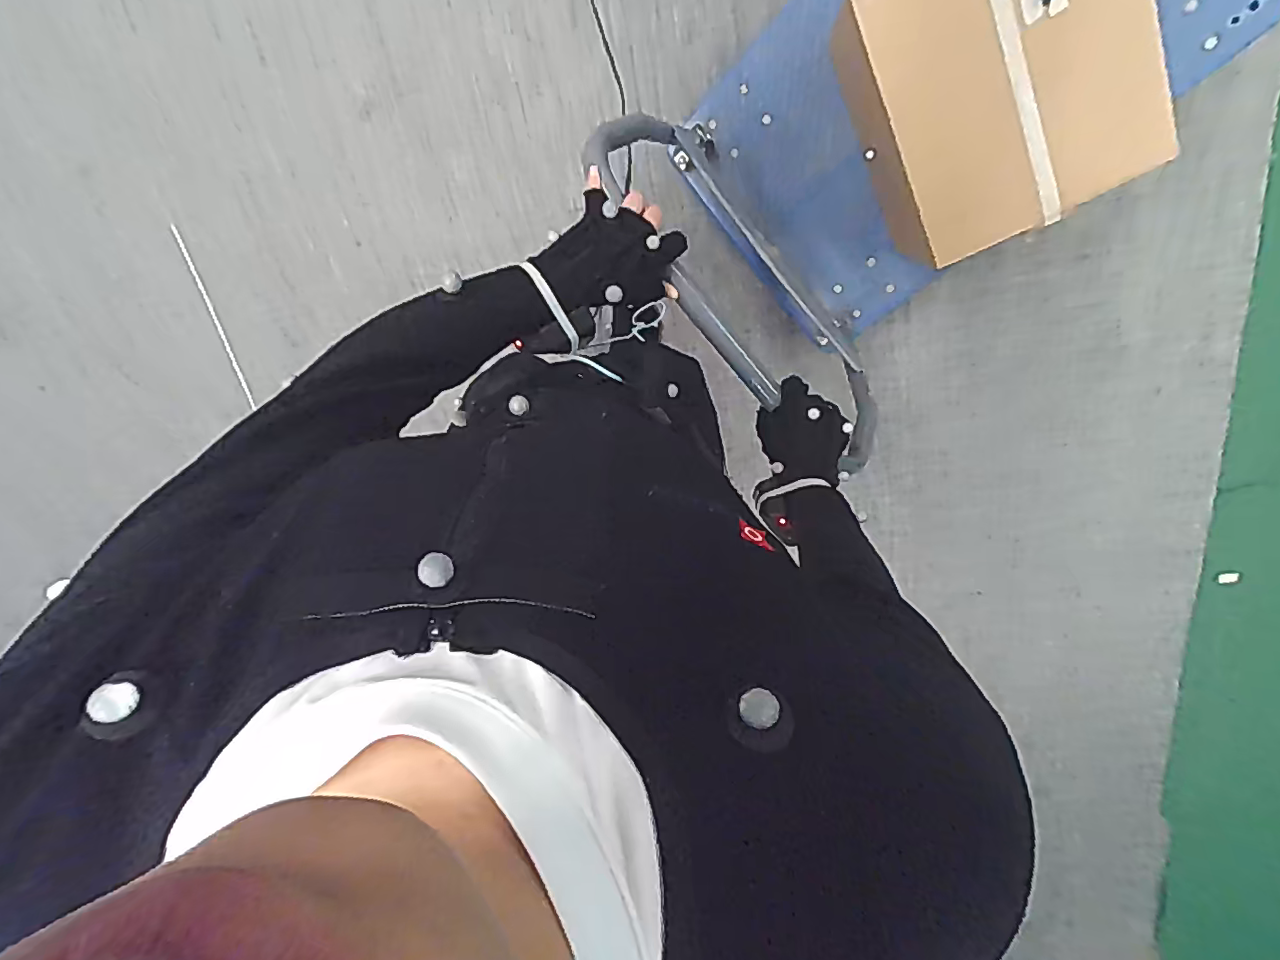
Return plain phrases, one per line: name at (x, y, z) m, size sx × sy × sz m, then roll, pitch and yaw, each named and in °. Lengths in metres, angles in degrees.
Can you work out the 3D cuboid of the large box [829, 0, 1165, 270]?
large box at (0.534, -0.612, 0.870) m, size 0.320 × 0.320 × 0.408 m, roll -21°, pitch 110°, yaw 22°
